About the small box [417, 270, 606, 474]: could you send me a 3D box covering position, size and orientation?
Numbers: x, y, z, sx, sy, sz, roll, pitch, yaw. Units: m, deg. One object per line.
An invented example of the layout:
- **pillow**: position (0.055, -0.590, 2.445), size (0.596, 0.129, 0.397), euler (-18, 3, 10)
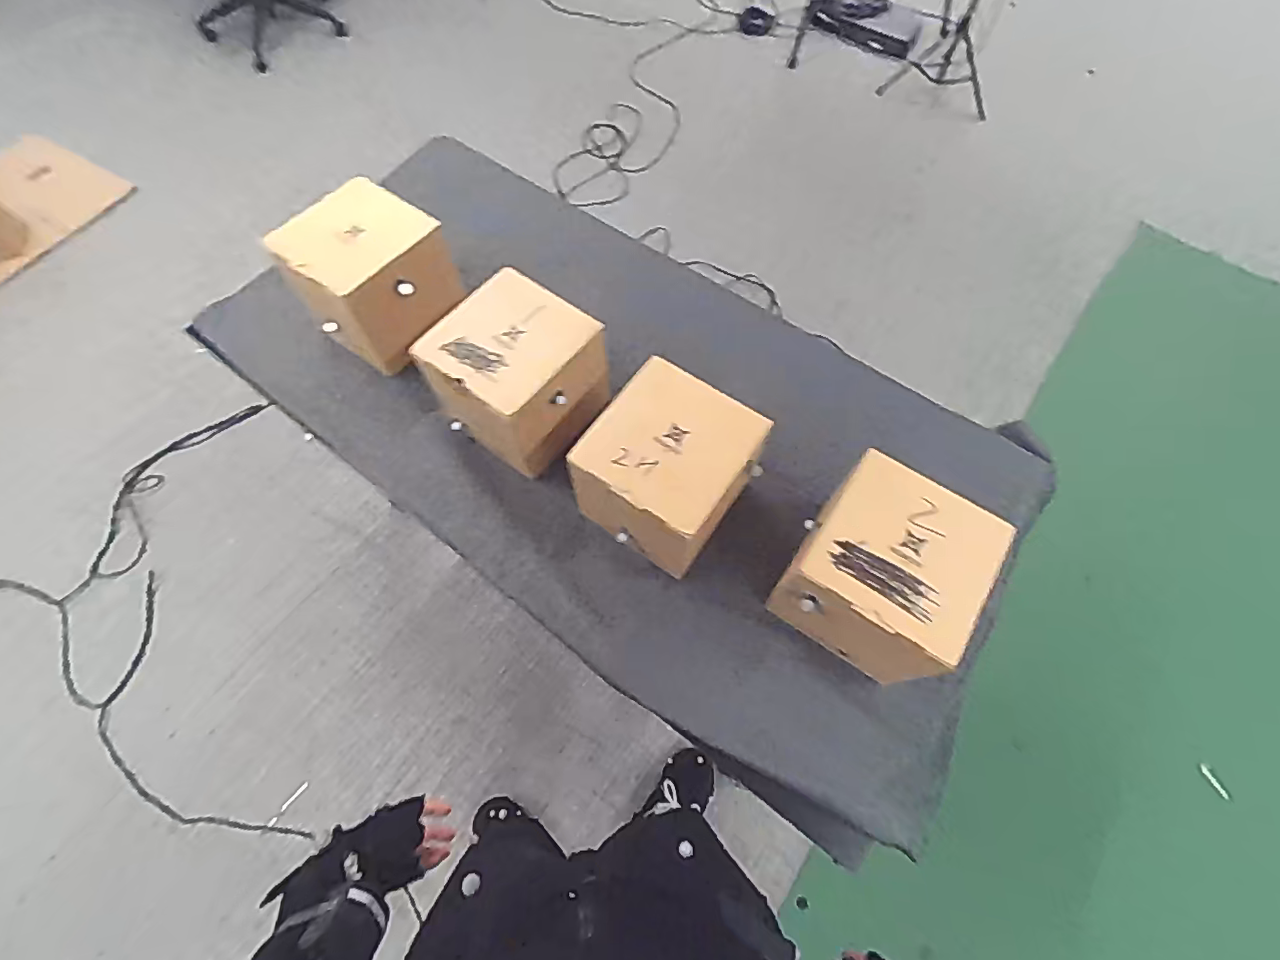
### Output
- **small box**: position (-0.157, -0.138, 0.736), size (0.168, 0.176, 0.179), euler (35, 69, 14)

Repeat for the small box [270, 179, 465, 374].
- **small box**: position (-0.386, -0.298, 0.808), size (0.168, 0.176, 0.179), euler (34, 68, 13)

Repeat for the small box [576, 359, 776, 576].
- **small box**: position (0.040, -0.008, 0.678), size (0.168, 0.176, 0.179), euler (33, 69, 14)
